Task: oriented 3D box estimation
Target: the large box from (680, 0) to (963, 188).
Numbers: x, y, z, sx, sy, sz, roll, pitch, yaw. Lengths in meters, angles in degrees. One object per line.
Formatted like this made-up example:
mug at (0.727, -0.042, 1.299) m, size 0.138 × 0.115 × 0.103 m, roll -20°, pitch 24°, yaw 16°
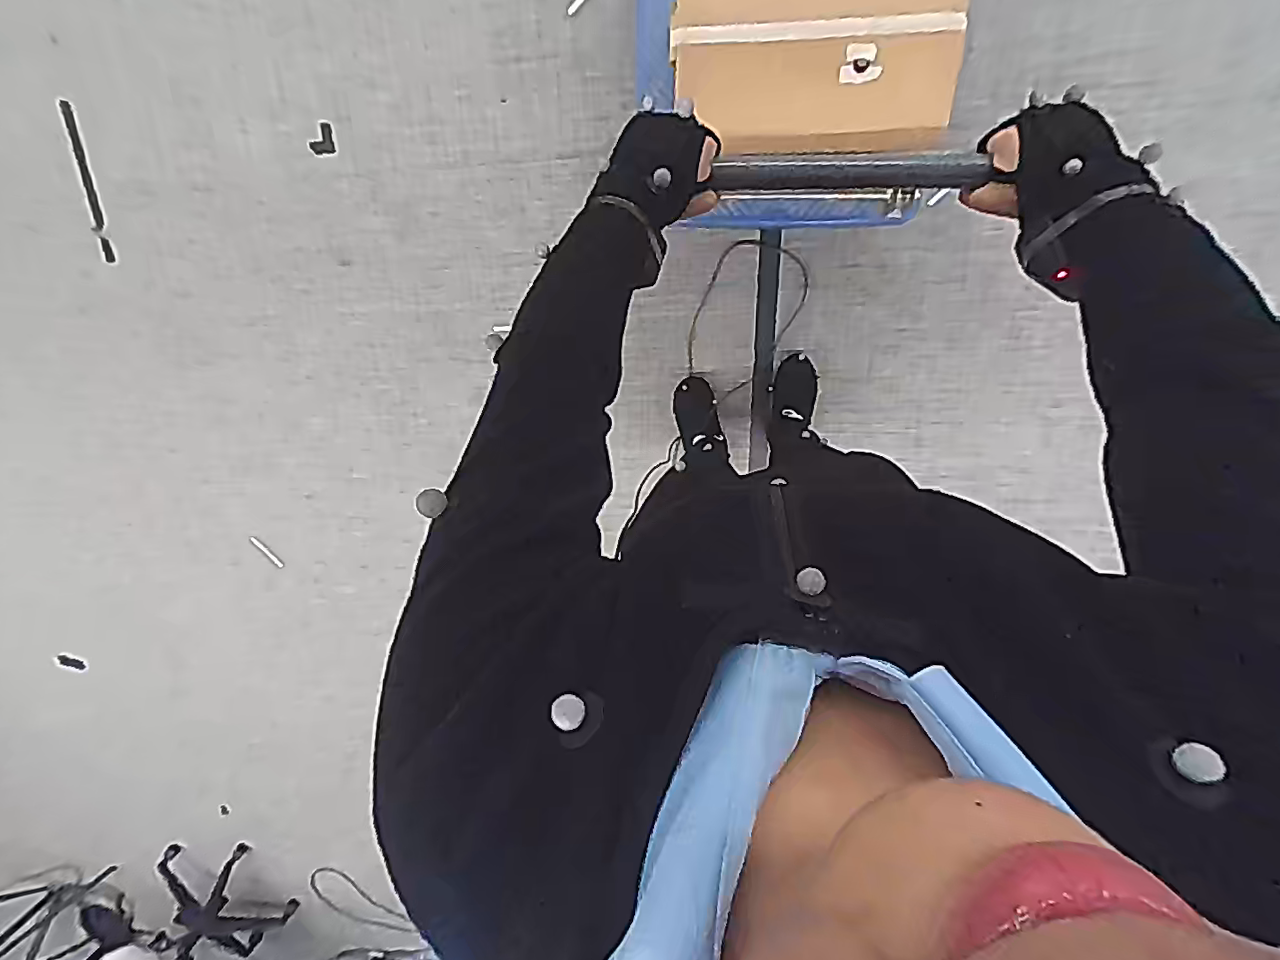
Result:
large box at (0.274, -0.706, 0.929) m, size 0.408 × 0.320 × 0.320 m, roll 2°, pitch 111°, yaw 6°
